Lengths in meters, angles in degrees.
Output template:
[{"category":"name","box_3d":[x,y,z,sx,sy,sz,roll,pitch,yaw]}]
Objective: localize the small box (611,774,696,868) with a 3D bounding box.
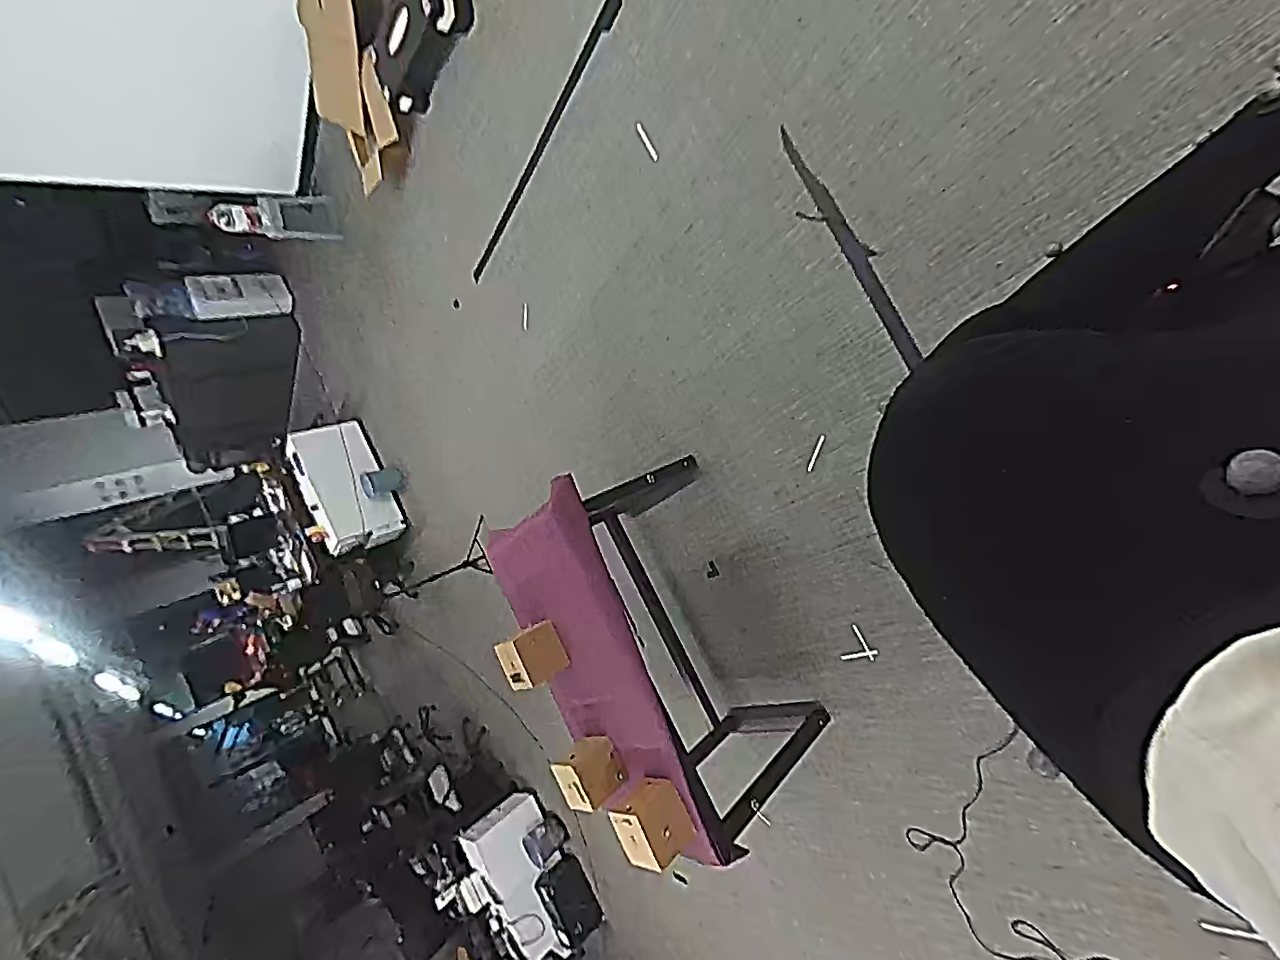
[{"category":"small box","box_3d":[0.046,1.057,1.690,0.168,0.176,0.179,-32,83,48]}]

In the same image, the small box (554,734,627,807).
[{"category":"small box","box_3d":[-0.168,1.016,1.904,0.179,0.176,0.168,-34,81,49]}]
